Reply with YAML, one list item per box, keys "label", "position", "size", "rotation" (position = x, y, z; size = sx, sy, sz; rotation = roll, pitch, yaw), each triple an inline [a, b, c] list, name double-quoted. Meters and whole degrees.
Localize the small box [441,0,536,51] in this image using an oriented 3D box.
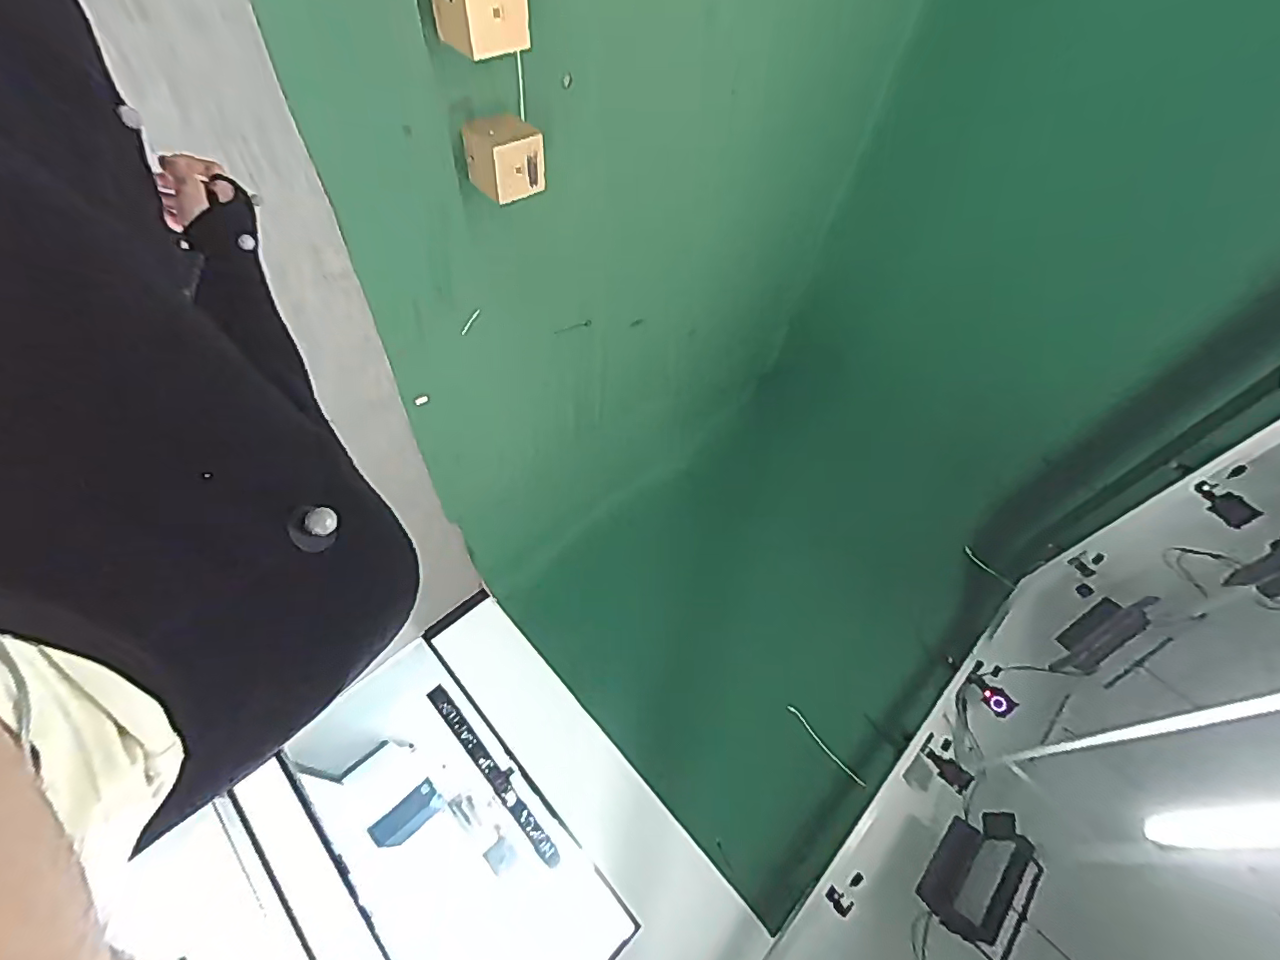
- label: "small box"
  position: [-0.379, -1.187, 1.318]
  size: [0.179, 0.176, 0.168]
  rotation: [-37, 157, -25]
